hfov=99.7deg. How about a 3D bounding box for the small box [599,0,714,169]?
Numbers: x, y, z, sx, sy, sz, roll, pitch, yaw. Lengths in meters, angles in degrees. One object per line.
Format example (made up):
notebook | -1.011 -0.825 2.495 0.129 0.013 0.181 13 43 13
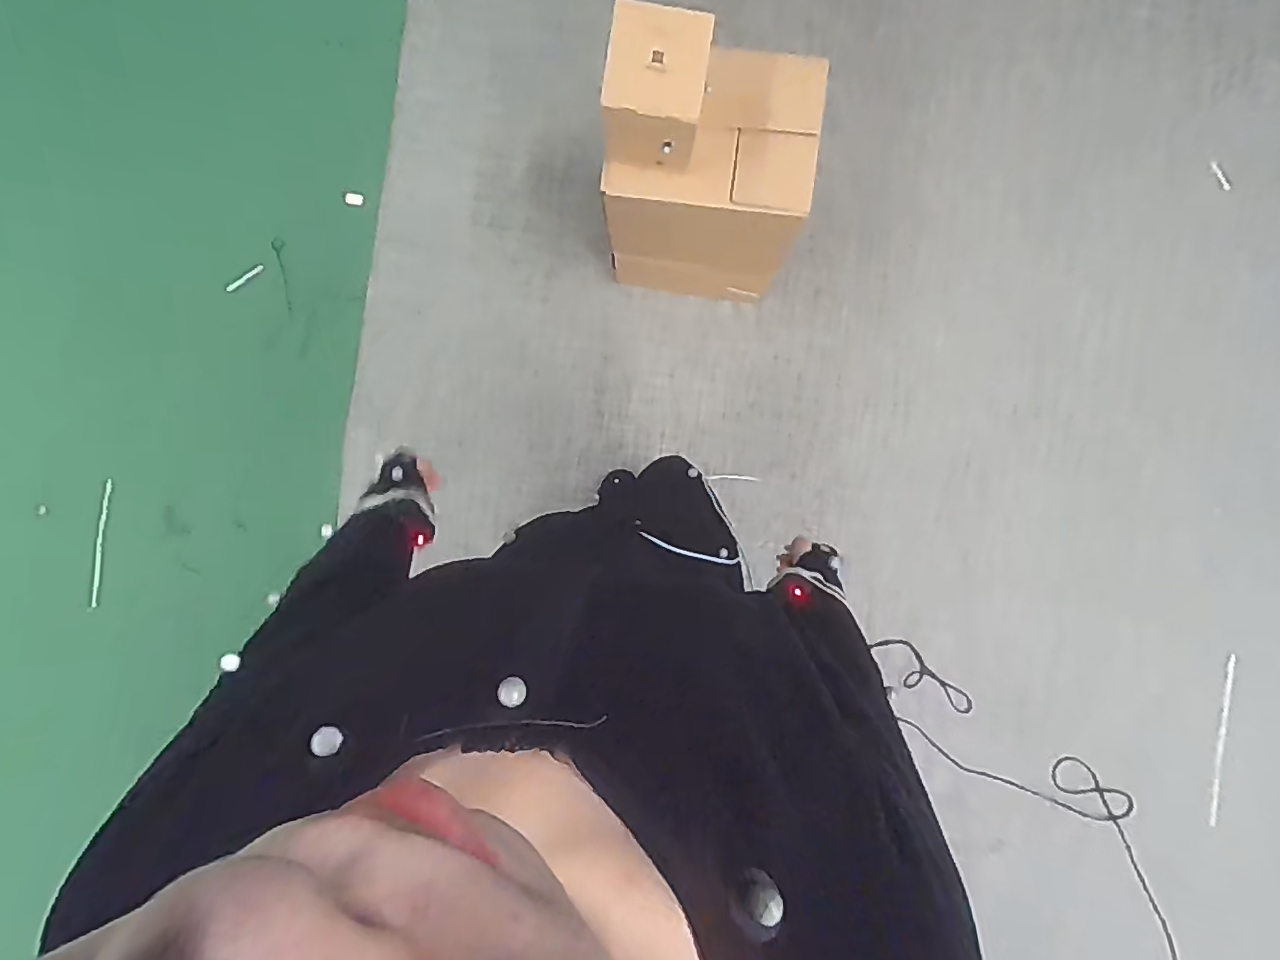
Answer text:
small box | 0.026 -0.684 0.951 0.168 0.176 0.179 9 92 -2
